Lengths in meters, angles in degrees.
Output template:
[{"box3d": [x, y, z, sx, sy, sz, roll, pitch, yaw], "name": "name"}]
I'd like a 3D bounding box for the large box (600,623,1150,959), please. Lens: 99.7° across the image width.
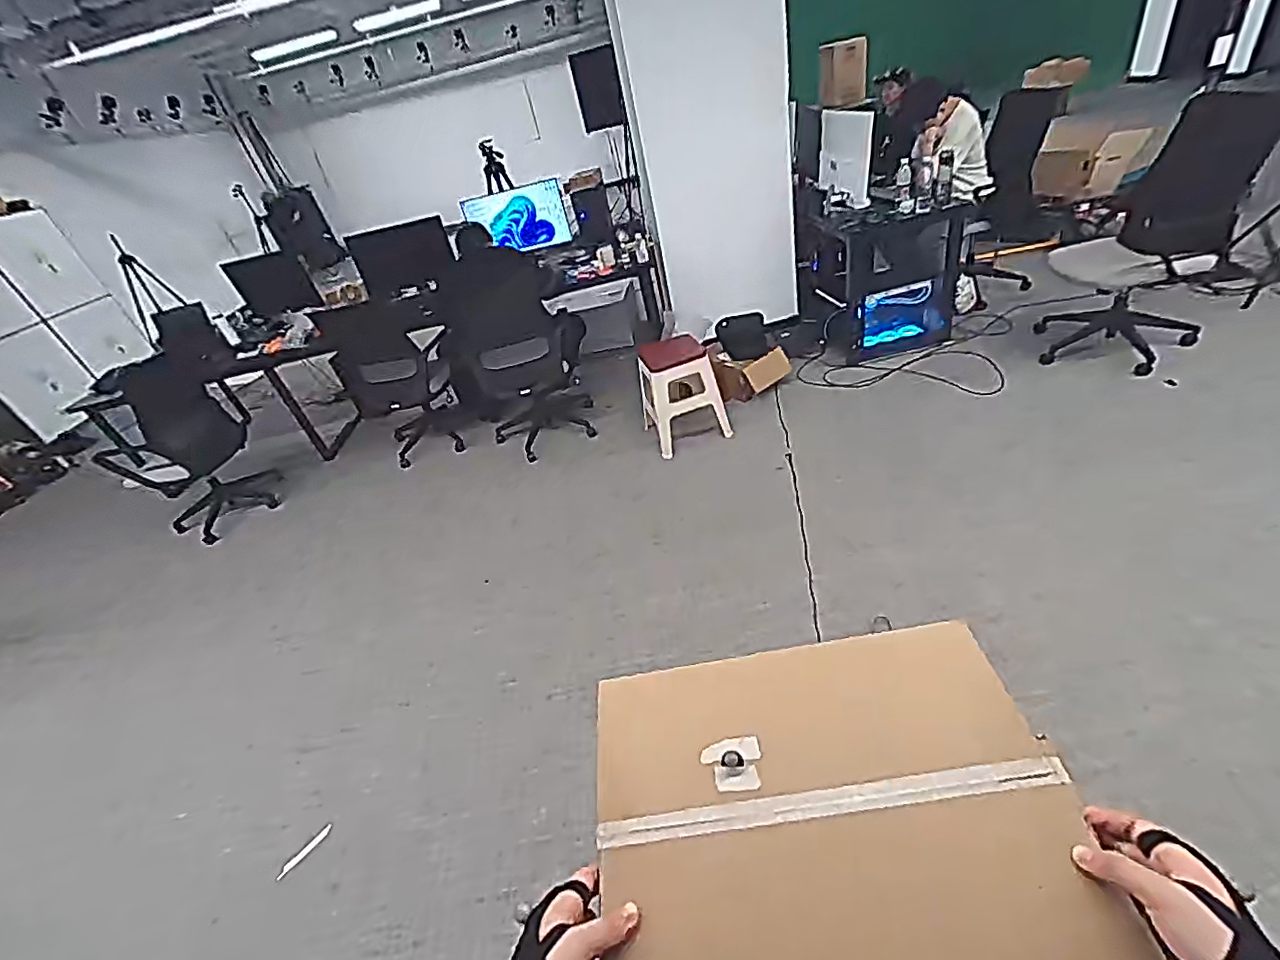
[{"box3d": [0.194, 0.406, 0.588, 0.408, 0.320, 0.320, -13, 39, 7], "name": "large box"}]
